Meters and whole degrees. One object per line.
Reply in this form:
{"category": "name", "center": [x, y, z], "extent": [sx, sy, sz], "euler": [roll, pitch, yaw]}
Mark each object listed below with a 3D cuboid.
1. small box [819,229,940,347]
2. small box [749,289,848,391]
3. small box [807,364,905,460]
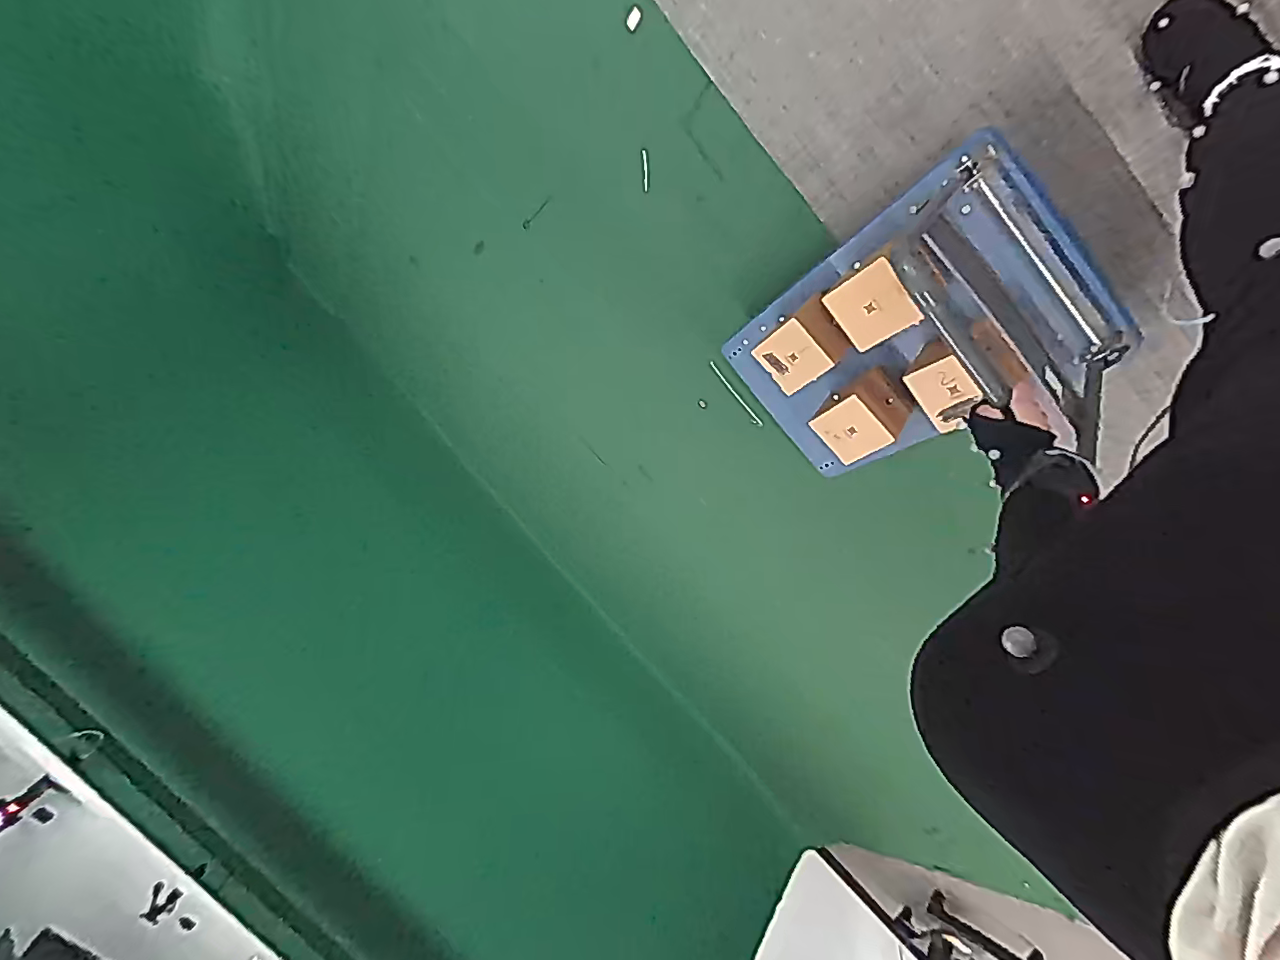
{"category": "small box", "center": [0.565, -0.451, 1.272], "extent": [0.168, 0.176, 0.179], "euler": [50, 144, -9]}
{"category": "small box", "center": [0.438, -0.381, 1.473], "extent": [0.168, 0.176, 0.179], "euler": [47, 144, -6]}
{"category": "small box", "center": [0.607, -0.191, 1.503], "extent": [0.168, 0.176, 0.179], "euler": [47, 146, -4]}
